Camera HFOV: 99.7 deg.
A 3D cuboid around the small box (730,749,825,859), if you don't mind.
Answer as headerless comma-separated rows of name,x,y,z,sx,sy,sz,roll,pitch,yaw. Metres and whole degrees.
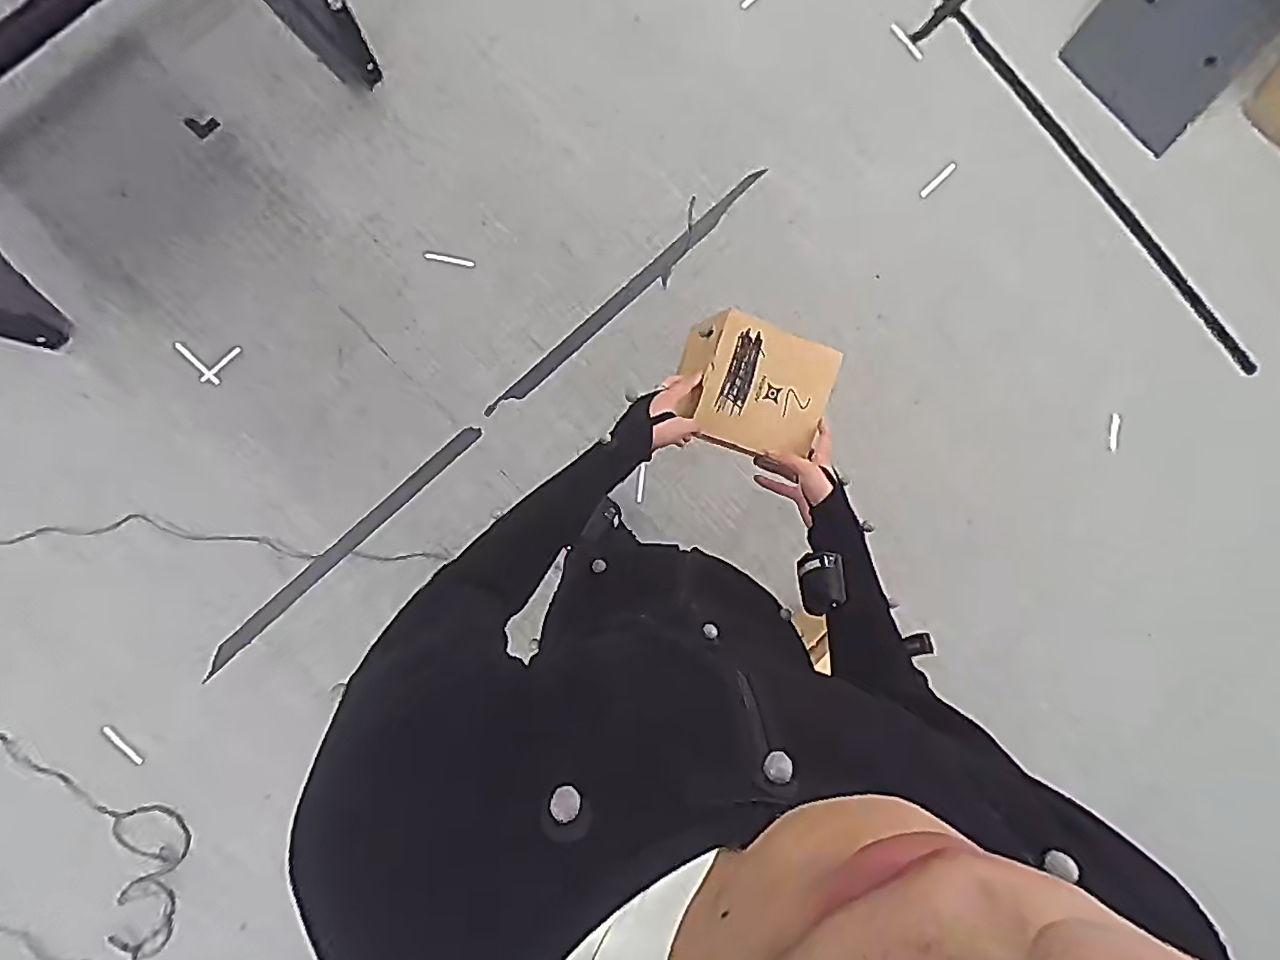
small box,0.387,0.920,1.553,0.168,0.176,0.179,-44,91,-5
